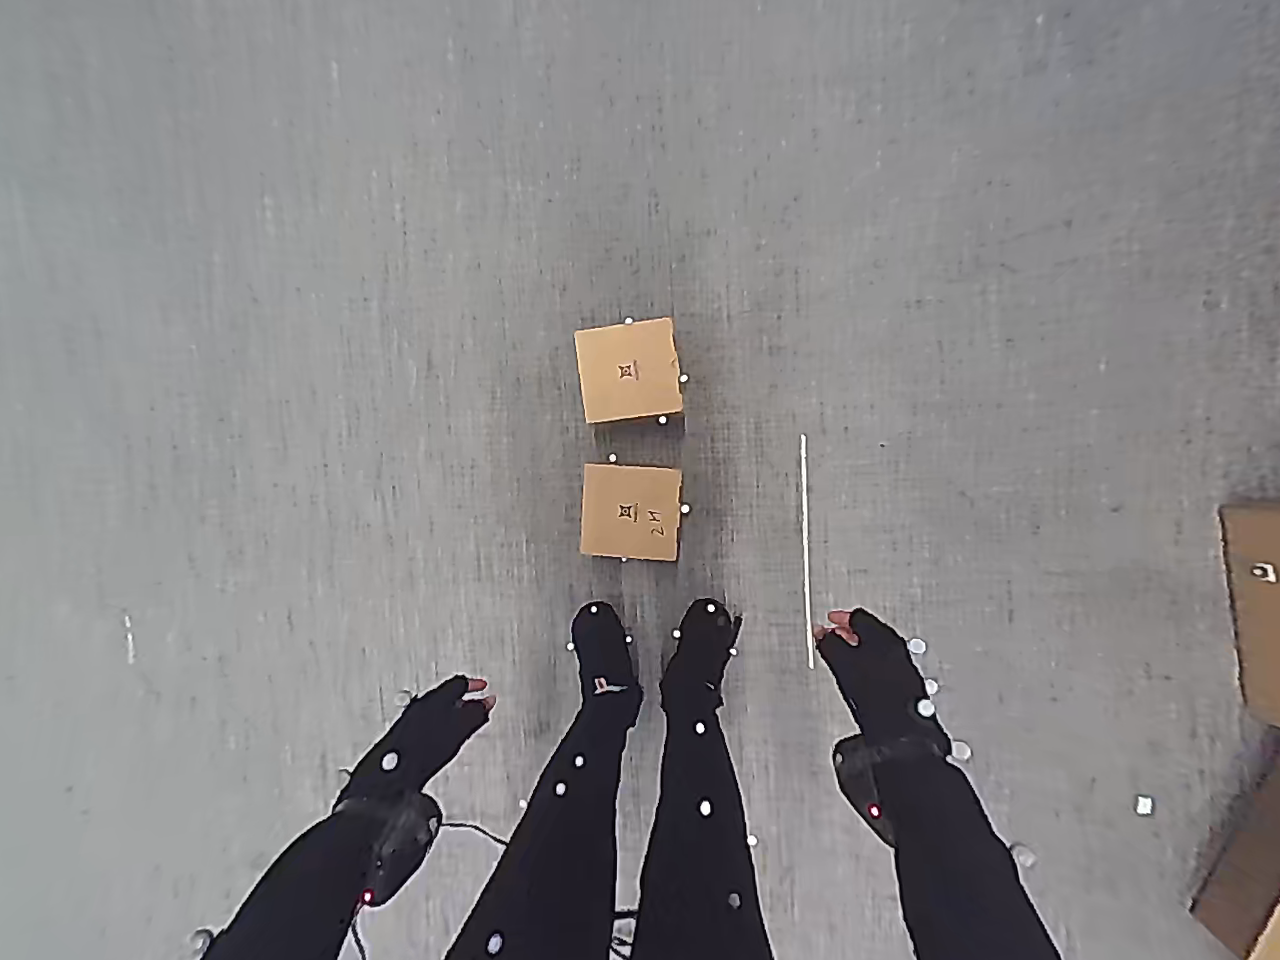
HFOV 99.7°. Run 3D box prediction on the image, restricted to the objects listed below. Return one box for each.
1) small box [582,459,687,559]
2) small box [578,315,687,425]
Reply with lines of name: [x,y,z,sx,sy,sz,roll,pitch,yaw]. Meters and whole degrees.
small box: [-0.004,0.047,1.031,0.179,0.176,0.168,4,94,5]
small box: [-0.006,-0.198,1.018,0.179,0.176,0.168,-7,93,5]
